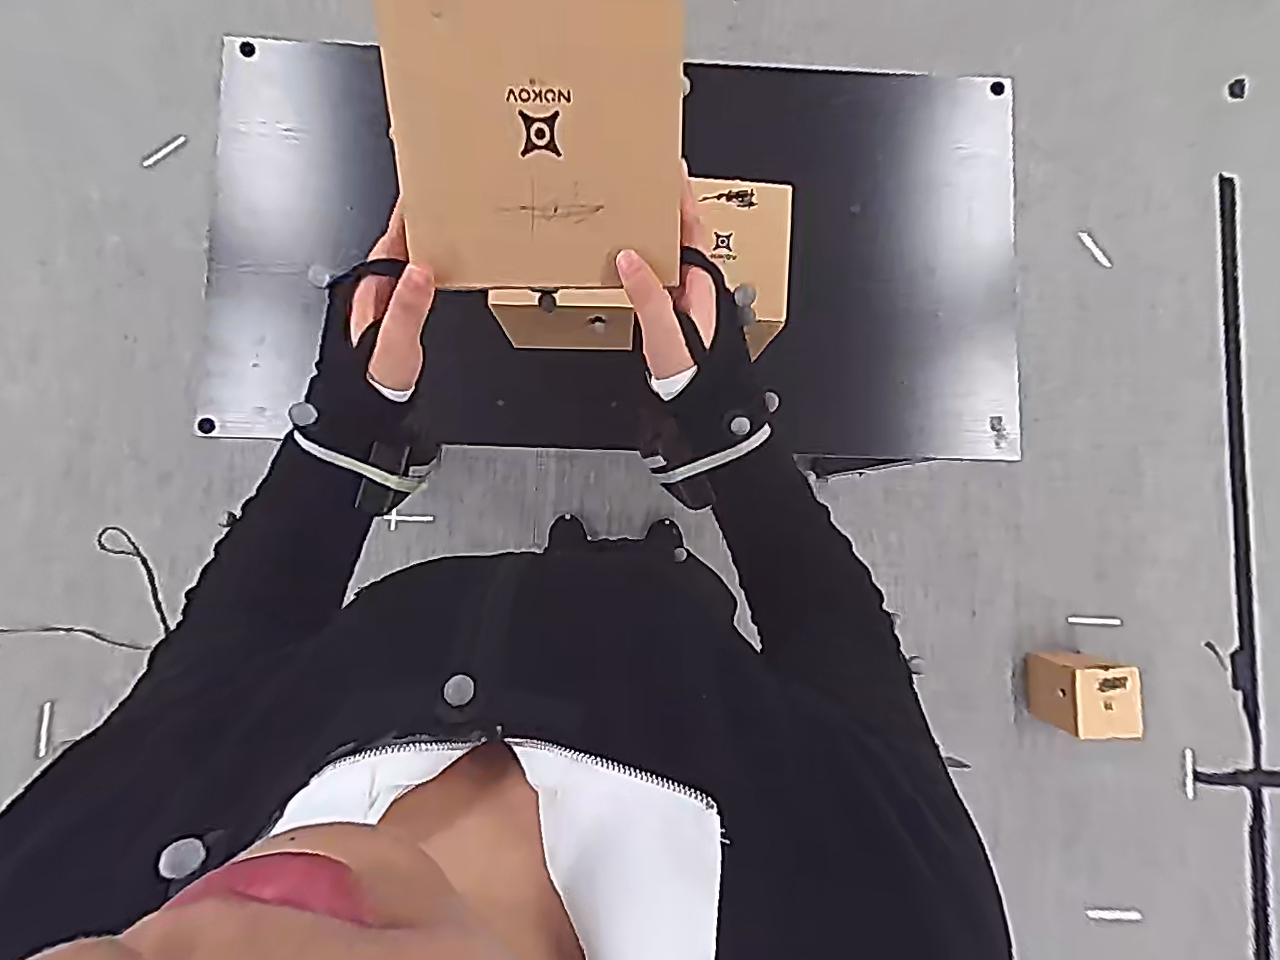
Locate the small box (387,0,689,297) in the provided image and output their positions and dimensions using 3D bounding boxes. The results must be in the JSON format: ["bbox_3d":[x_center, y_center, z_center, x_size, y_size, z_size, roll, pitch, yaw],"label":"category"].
[{"bbox_3d":[-0.062,-0.226,0.388,0.168,0.176,0.179,-1,109,-4],"label":"small box"}]

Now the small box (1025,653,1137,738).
[{"bbox_3d":[1.167,0.565,1.442,0.168,0.176,0.179,-1,87,-2],"label":"small box"}]
